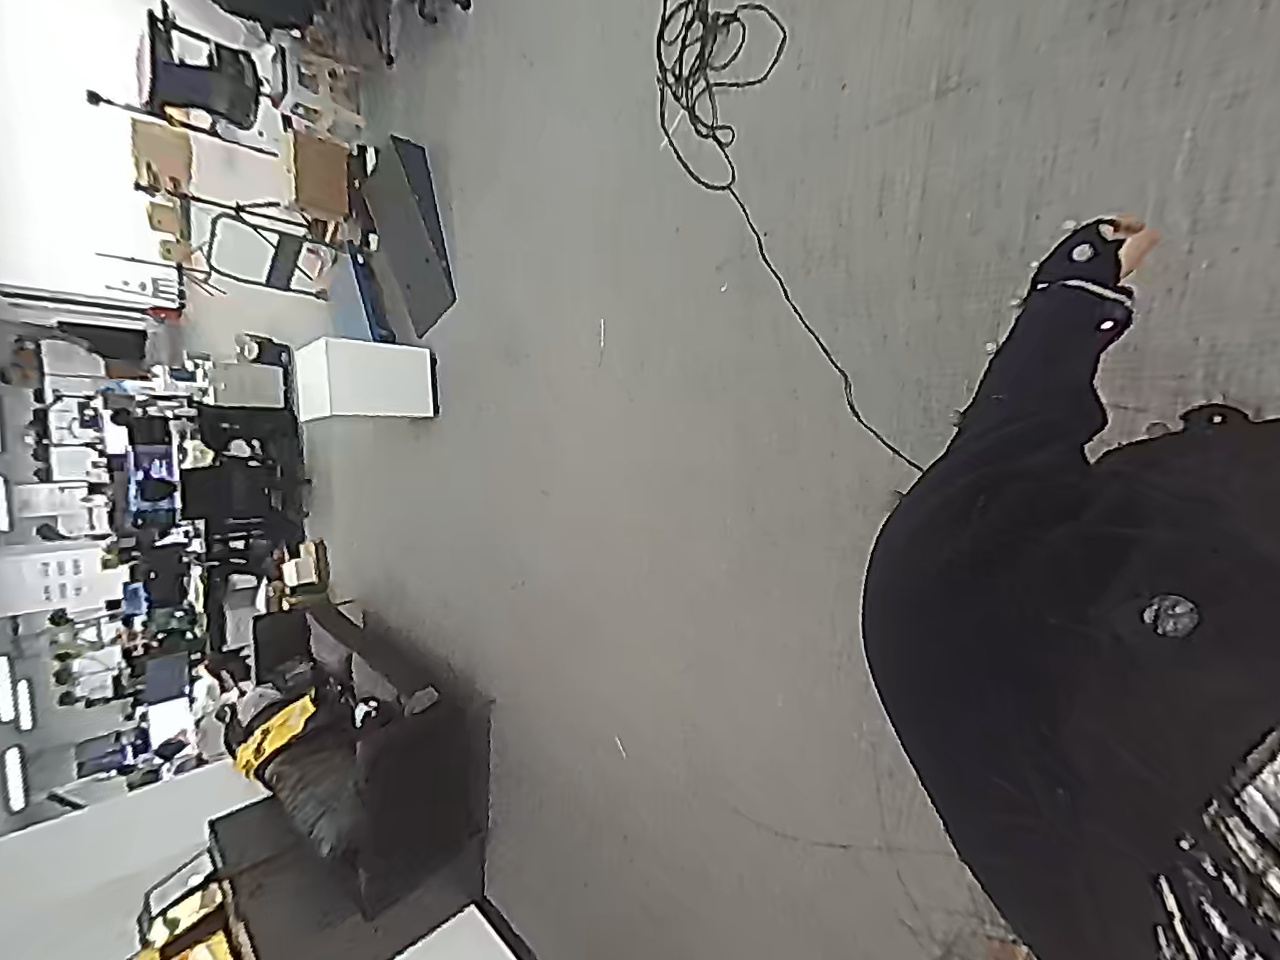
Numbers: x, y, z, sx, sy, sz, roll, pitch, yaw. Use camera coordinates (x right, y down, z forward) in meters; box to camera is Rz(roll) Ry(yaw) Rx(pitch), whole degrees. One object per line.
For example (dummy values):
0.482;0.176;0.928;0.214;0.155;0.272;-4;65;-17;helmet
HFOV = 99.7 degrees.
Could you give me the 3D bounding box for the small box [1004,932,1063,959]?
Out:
0.942;1.241;1.273;0.168;0.176;0.179;14;104;42;small box
